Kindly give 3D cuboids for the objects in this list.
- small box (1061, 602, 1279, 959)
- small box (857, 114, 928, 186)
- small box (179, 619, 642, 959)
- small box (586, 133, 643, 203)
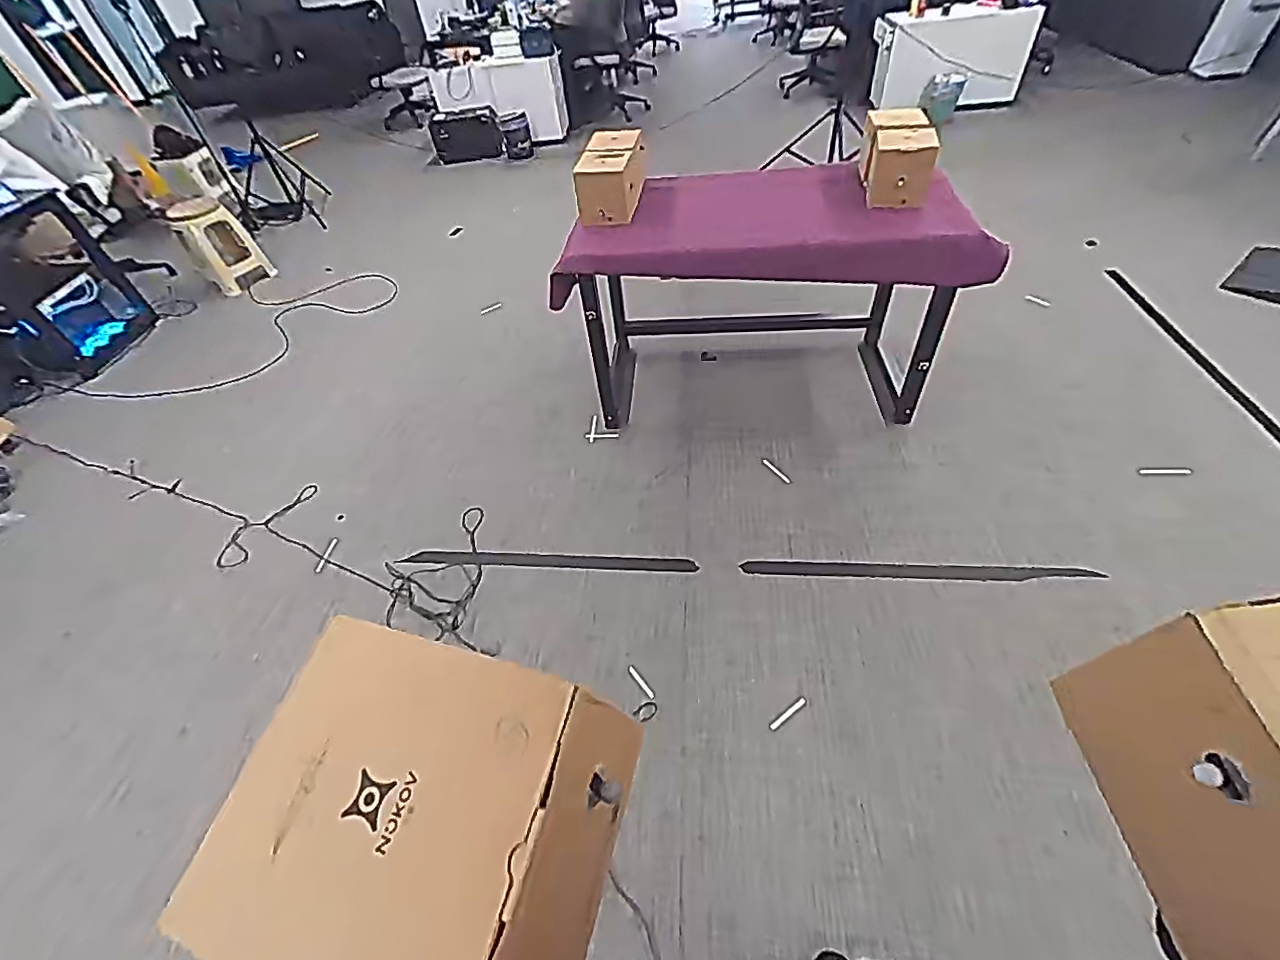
[{"bbox_3d":[0.395,0.176,0.306,0.168,0.176,0.179,-10,56,5],"label":"small box"},{"bbox_3d":[0.827,-1.095,1.794,0.168,0.176,0.179,3,48,9],"label":"small box"},{"bbox_3d":[-0.111,0.208,0.345,0.179,0.176,0.168,7,60,19],"label":"small box"},{"bbox_3d":[-0.084,-1.101,1.910,0.168,0.176,0.179,3,50,10],"label":"small box"}]
